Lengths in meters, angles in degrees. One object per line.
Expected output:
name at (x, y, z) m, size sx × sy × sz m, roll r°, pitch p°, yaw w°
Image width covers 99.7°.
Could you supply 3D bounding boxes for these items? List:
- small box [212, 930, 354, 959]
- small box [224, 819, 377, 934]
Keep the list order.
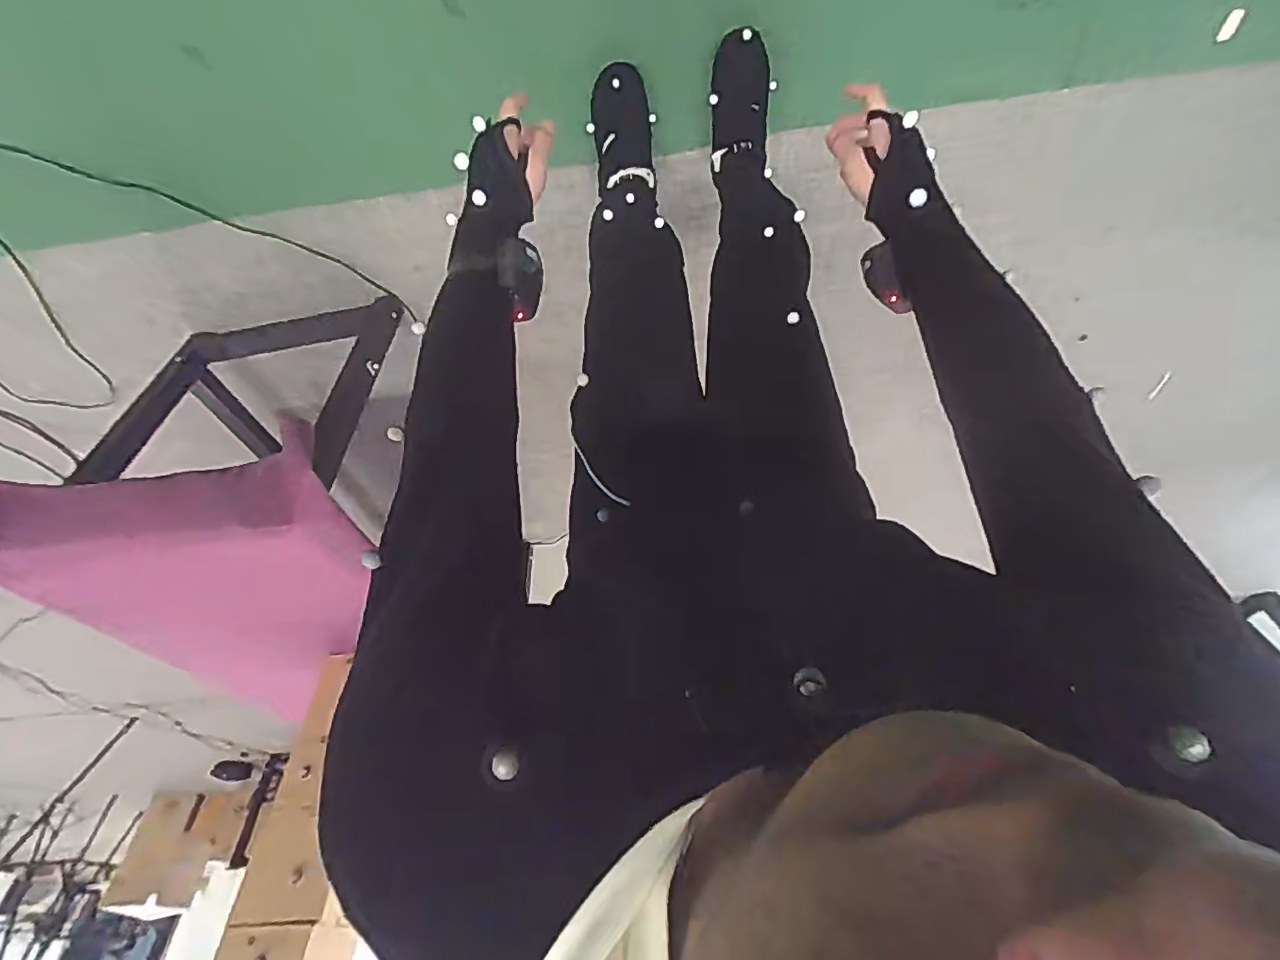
small box at (-0.631, 0.887, 0.931) m, size 0.168 × 0.176 × 0.179 m, roll -5°, pitch 137°, yaw 4°
small box at (-0.633, 0.765, 1.042) m, size 0.179 × 0.176 × 0.168 m, roll -4°, pitch 137°, yaw 2°
